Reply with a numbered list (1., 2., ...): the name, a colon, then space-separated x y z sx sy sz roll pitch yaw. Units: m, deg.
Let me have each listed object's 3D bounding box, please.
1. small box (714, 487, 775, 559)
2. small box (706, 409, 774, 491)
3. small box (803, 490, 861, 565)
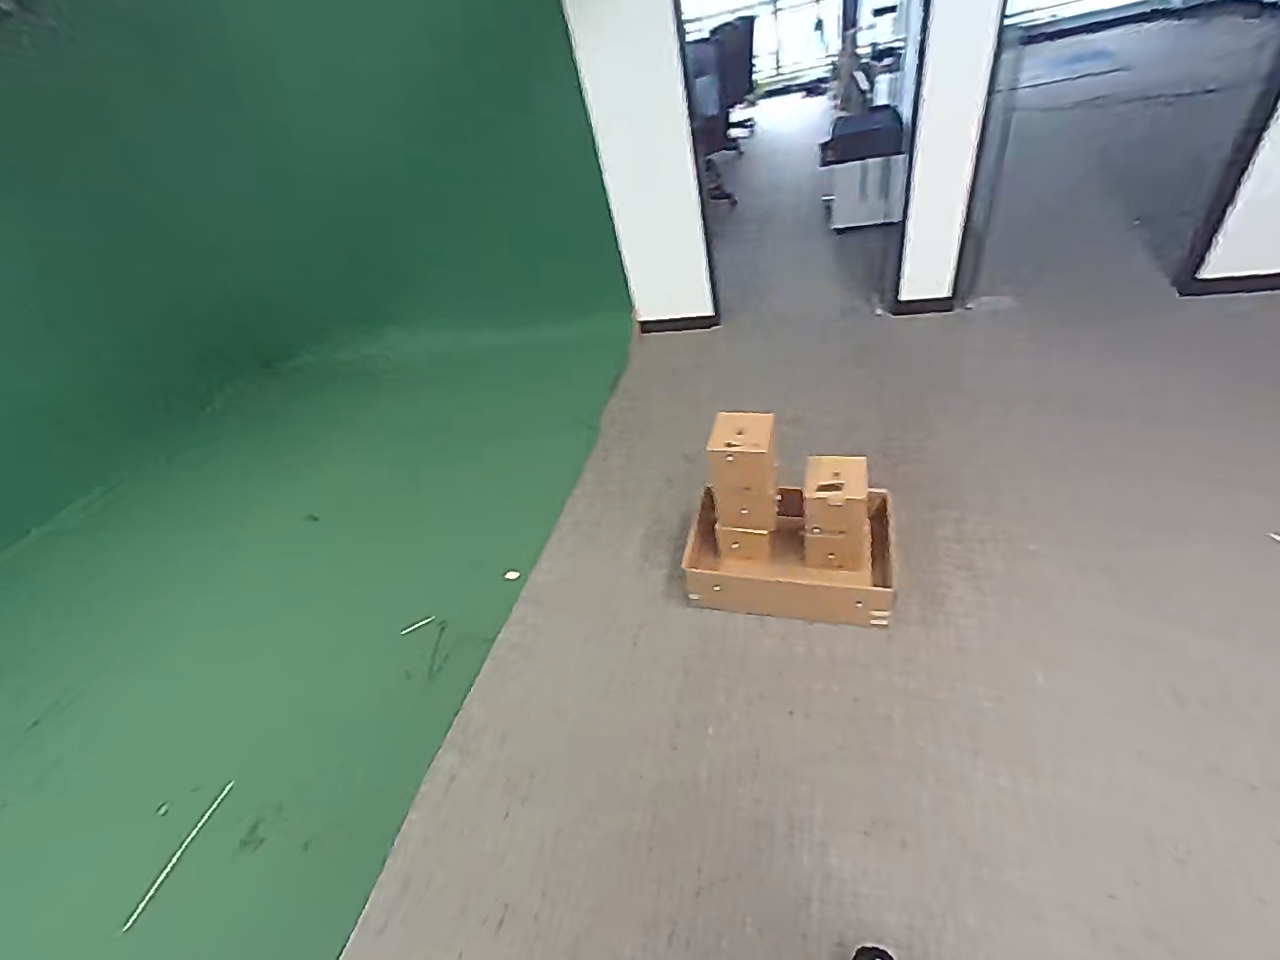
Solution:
1. small box: 0.358 0.145 1.820 0.168 0.176 0.179 5 46 21
2. small box: 0.302 -0.091 1.598 0.168 0.176 0.179 3 45 21
3. small box: 0.615 0.153 1.727 0.168 0.176 0.179 1 45 19
